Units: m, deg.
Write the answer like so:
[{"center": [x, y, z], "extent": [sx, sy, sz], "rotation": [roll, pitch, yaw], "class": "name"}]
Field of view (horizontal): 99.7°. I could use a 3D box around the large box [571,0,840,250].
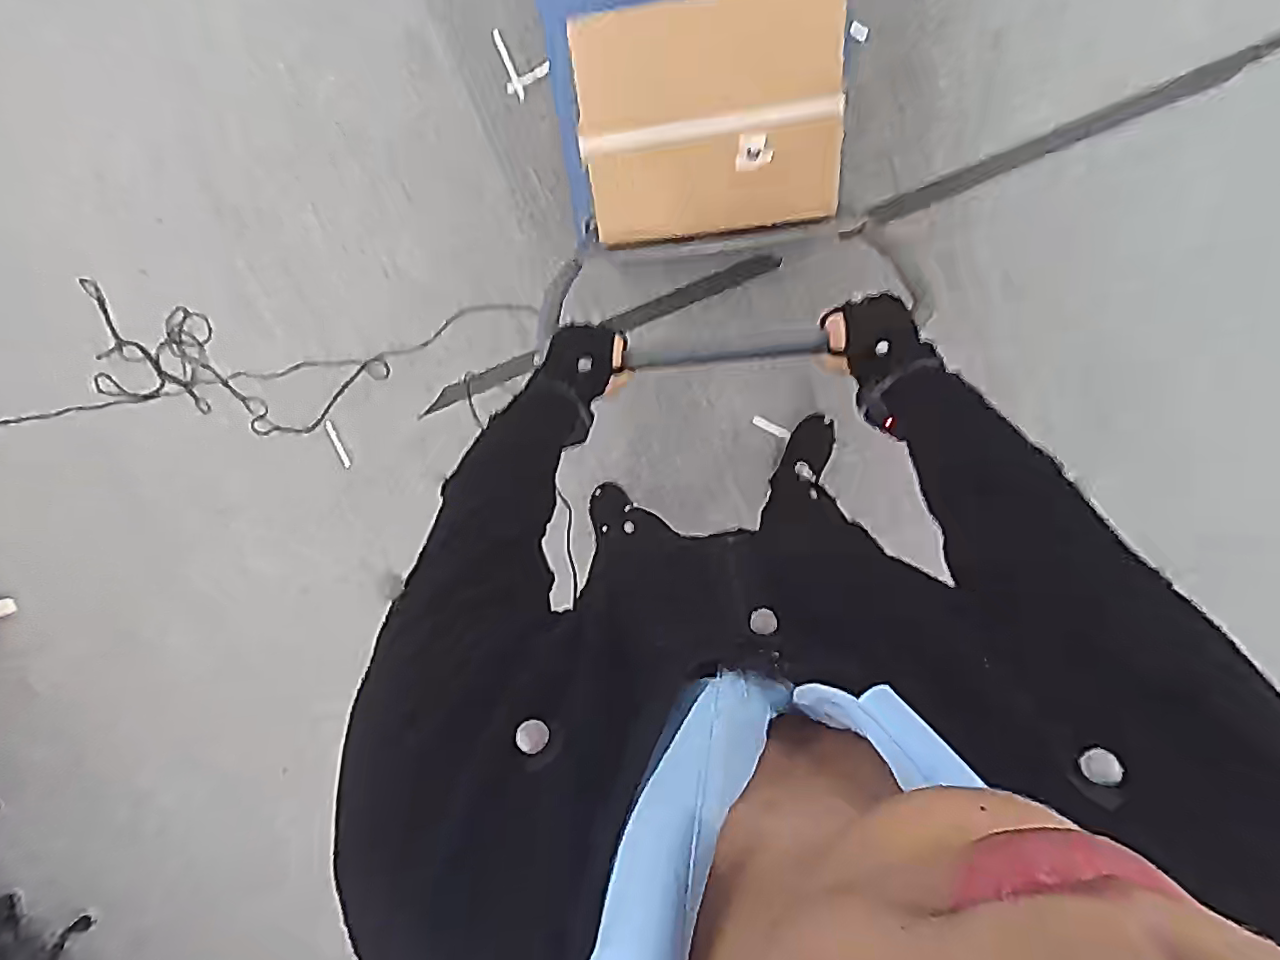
[{"center": [0.120, -0.639, 0.994], "extent": [0.408, 0.320, 0.320], "rotation": [-6, 122, 7], "class": "large box"}]
